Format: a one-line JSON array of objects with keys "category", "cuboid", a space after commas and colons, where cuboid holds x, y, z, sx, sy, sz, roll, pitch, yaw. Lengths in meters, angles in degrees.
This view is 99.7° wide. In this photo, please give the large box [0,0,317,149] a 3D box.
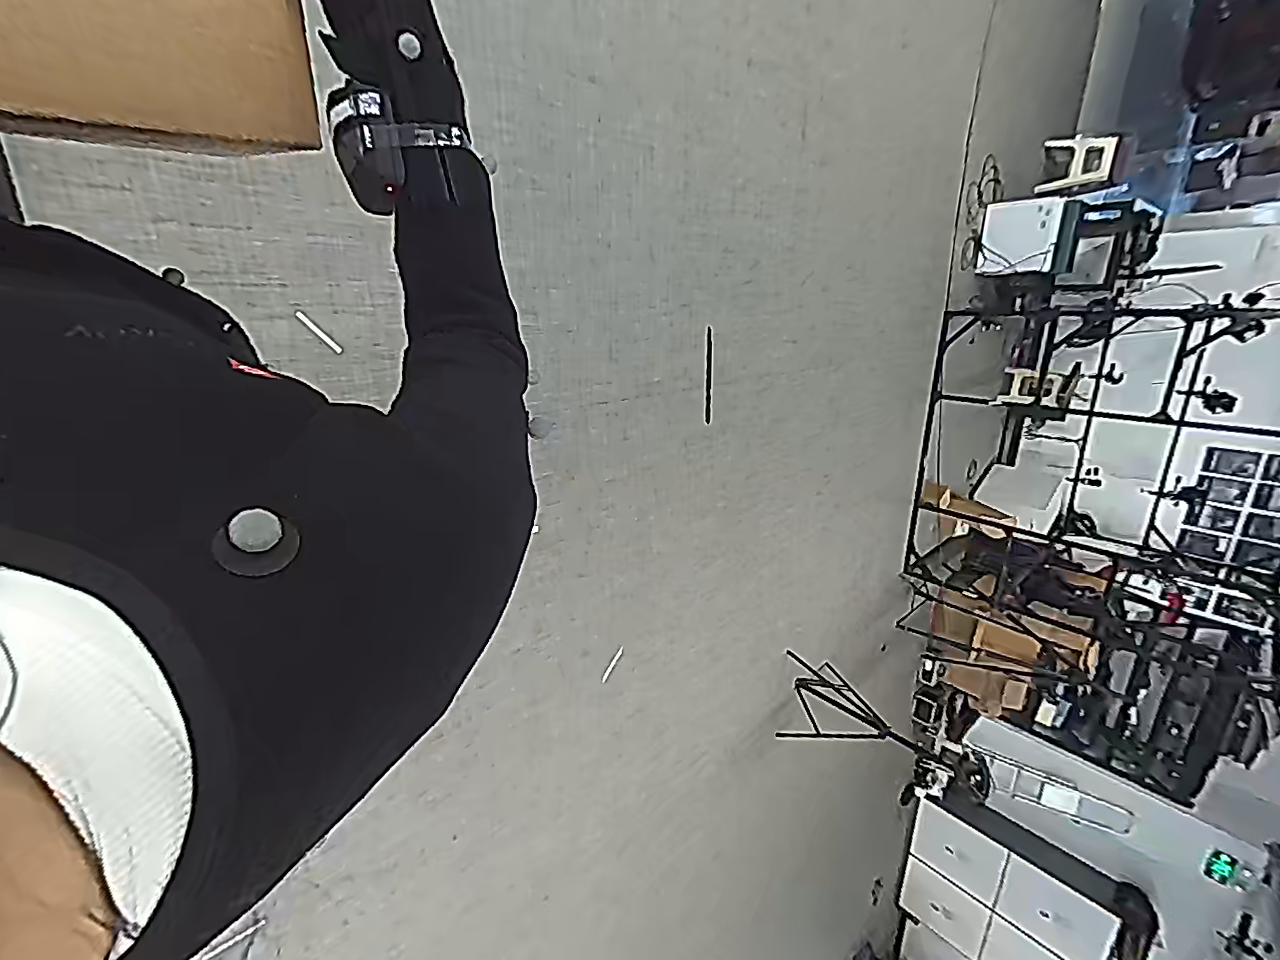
[{"category": "large box", "cuboid": [-0.462, -0.374, 0.283, 0.408, 0.320, 0.320, -19, 126, -38]}]
